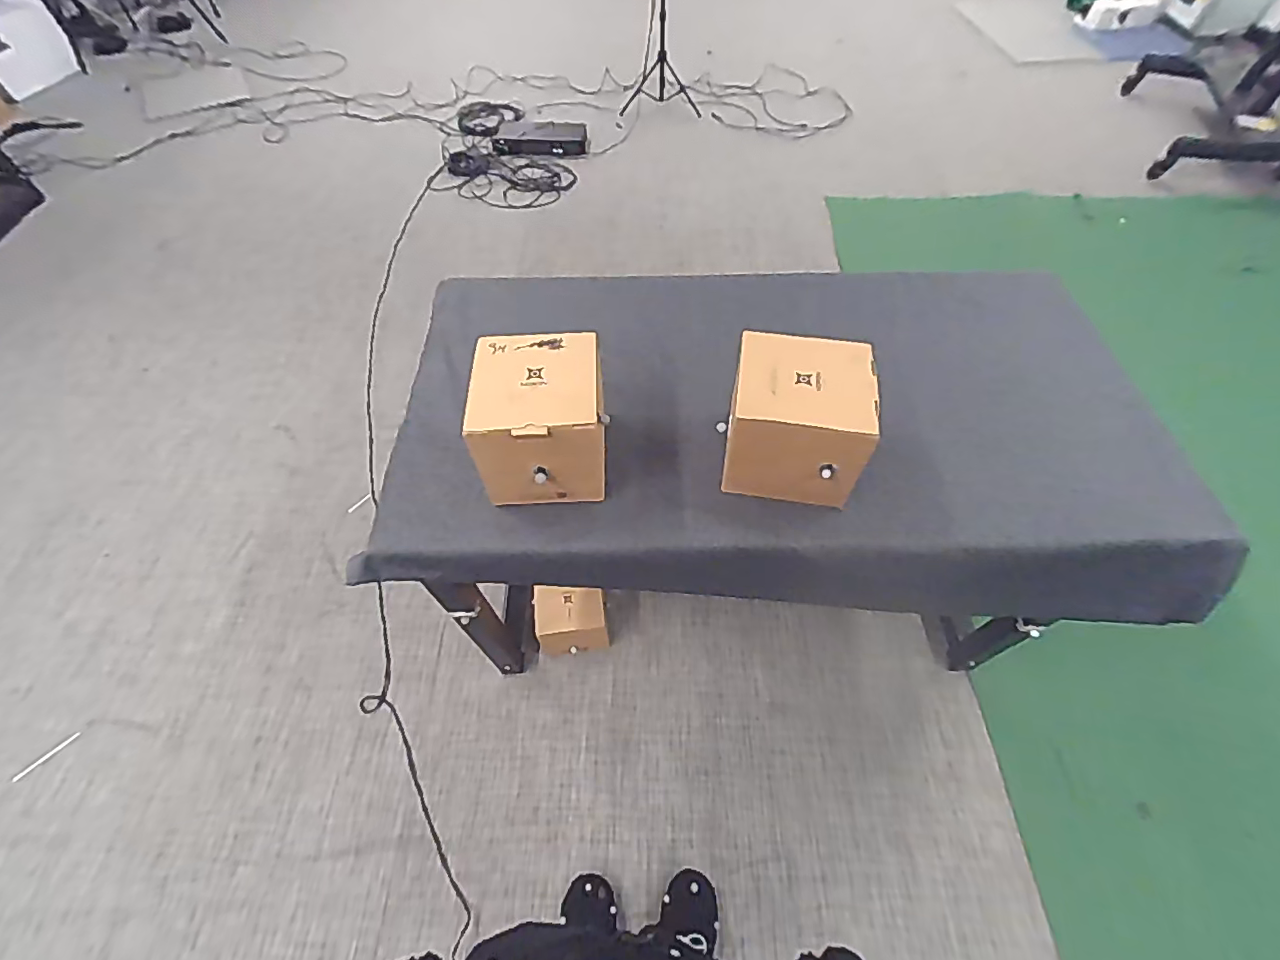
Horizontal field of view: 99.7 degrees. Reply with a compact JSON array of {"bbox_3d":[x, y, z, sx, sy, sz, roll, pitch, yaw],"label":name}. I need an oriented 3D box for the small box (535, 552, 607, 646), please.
[{"bbox_3d":[-0.175,0.307,1.383,0.168,0.176,0.179,-7,58,-4],"label":"small box"}]

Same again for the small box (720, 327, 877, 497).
[{"bbox_3d":[0.217,-0.092,0.771,0.179,0.176,0.168,7,56,6],"label":"small box"}]

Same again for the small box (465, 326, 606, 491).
[{"bbox_3d":[-0.136,-0.094,0.772,0.168,0.176,0.179,-2,56,-2],"label":"small box"}]
